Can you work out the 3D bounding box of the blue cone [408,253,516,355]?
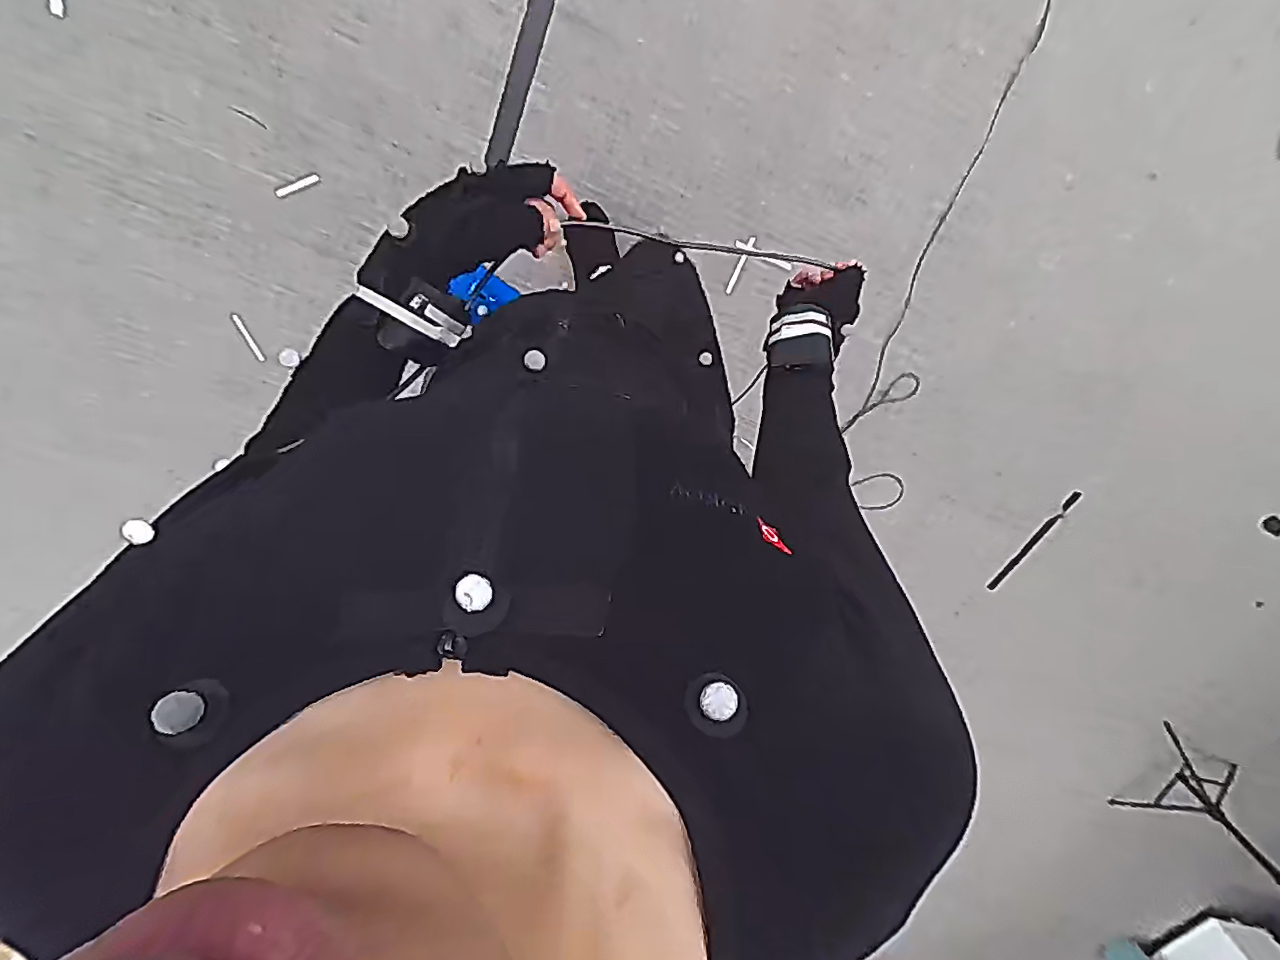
[{"bbox_3d":[-0.412,-0.352,1.176,0.192,0.380,0.193,36,110,-17],"label":"blue cone"}]
